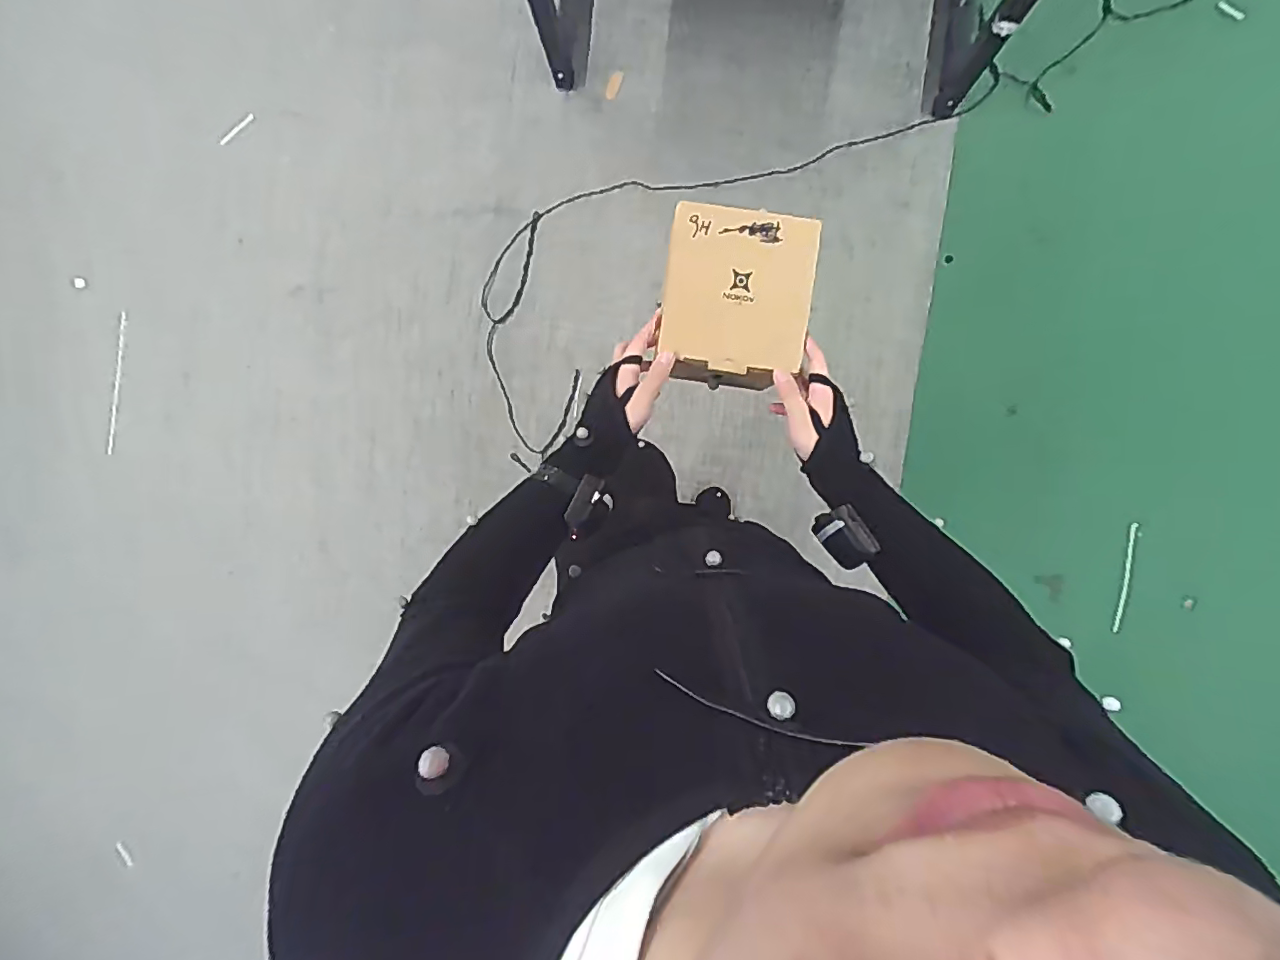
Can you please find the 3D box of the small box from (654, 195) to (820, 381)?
[{"bbox_3d":[0.109,-0.225,0.682,0.168,0.176,0.179,7,94,-1],"label":"small box"}]
